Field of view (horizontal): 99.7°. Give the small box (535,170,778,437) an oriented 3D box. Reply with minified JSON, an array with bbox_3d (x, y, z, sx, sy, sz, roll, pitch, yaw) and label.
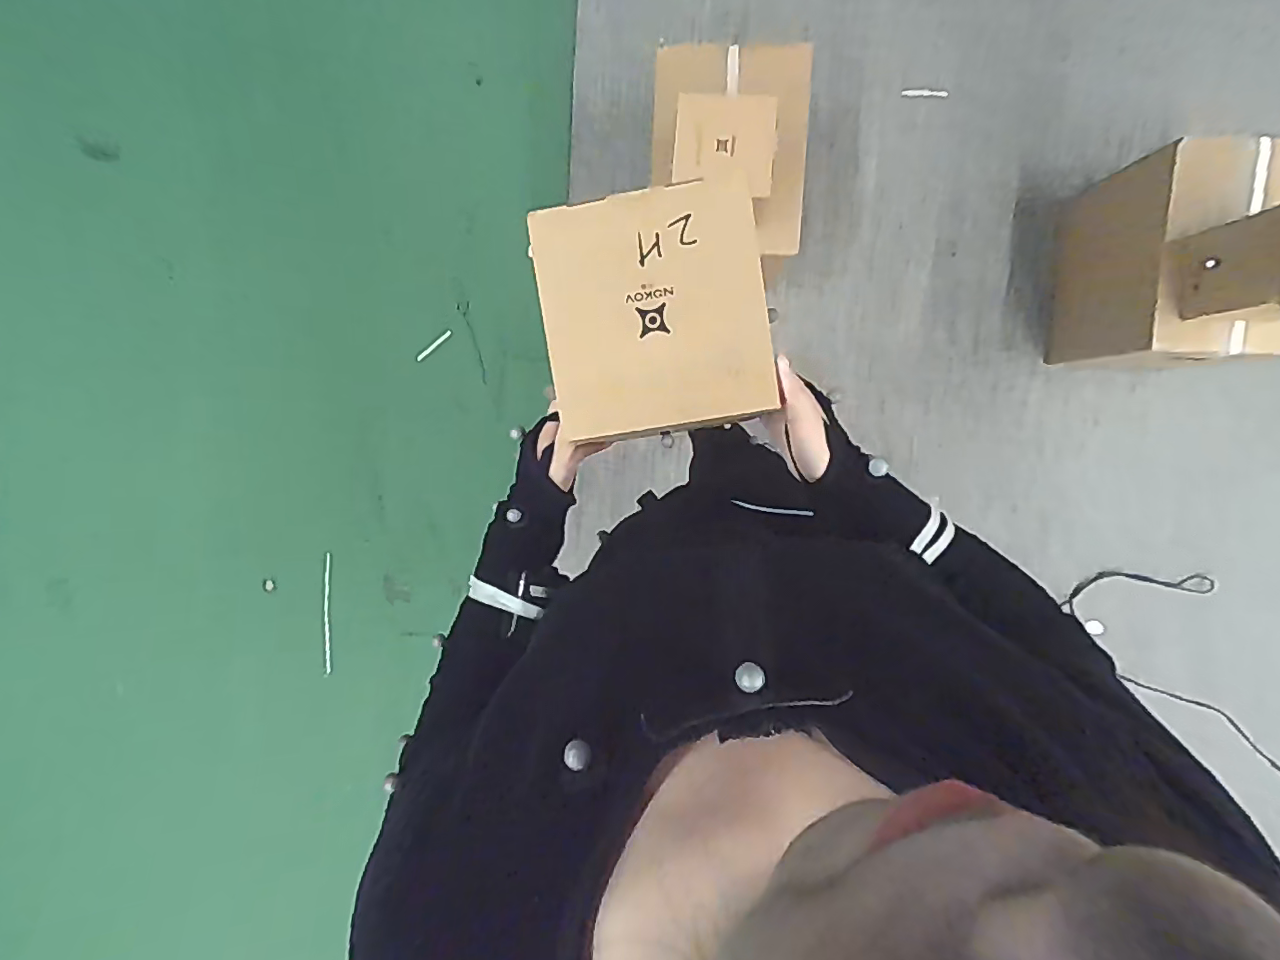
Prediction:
[{"bbox_3d":[0.019,-0.134,0.481,0.168,0.176,0.179,-8,93,4],"label":"small box"}]

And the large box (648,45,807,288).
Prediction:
[{"bbox_3d":[0.185,-0.680,1.242,0.320,0.320,0.408,2,96,3],"label":"large box"}]

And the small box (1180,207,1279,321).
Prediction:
[{"bbox_3d":[1.156,-0.387,0.979,0.179,0.176,0.168,1,97,4],"label":"small box"}]

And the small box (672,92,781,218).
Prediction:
[{"bbox_3d":[0.153,-0.584,1.007,0.179,0.176,0.168,5,96,5],"label":"small box"}]
